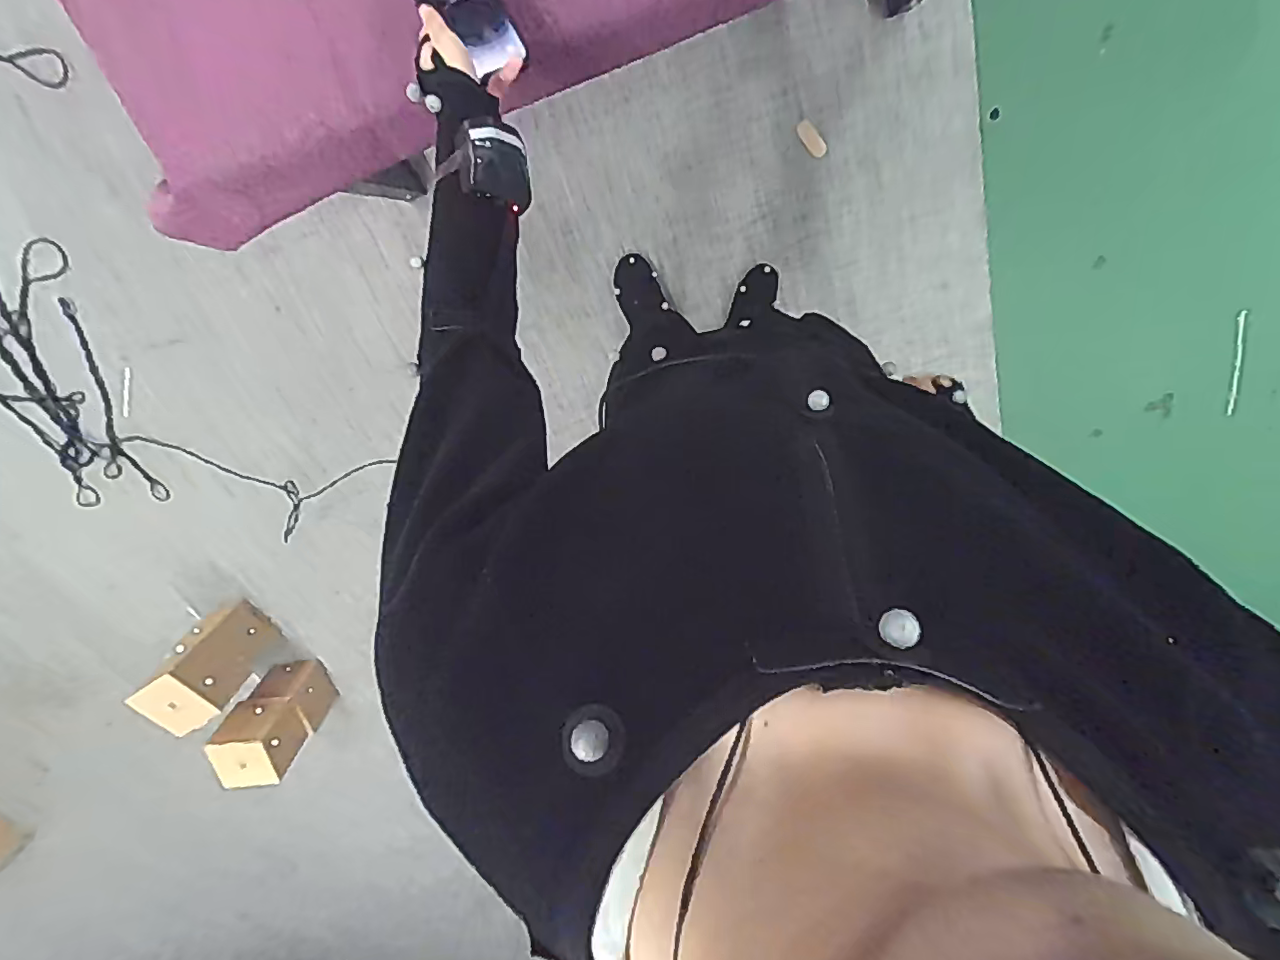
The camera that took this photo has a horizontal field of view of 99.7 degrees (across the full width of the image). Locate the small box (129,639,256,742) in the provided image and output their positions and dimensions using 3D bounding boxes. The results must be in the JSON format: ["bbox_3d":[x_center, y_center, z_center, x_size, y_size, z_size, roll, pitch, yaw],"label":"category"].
[{"bbox_3d":[-1.234,0.583,1.510,0.168,0.176,0.179,-31,112,10],"label":"small box"}]

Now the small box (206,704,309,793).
[{"bbox_3d":[-1.129,0.799,1.615,0.168,0.176,0.179,-4,113,0],"label":"small box"}]

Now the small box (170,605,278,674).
[{"bbox_3d":[-1.256,0.515,1.657,0.179,0.176,0.168,-26,113,9],"label":"small box"}]
